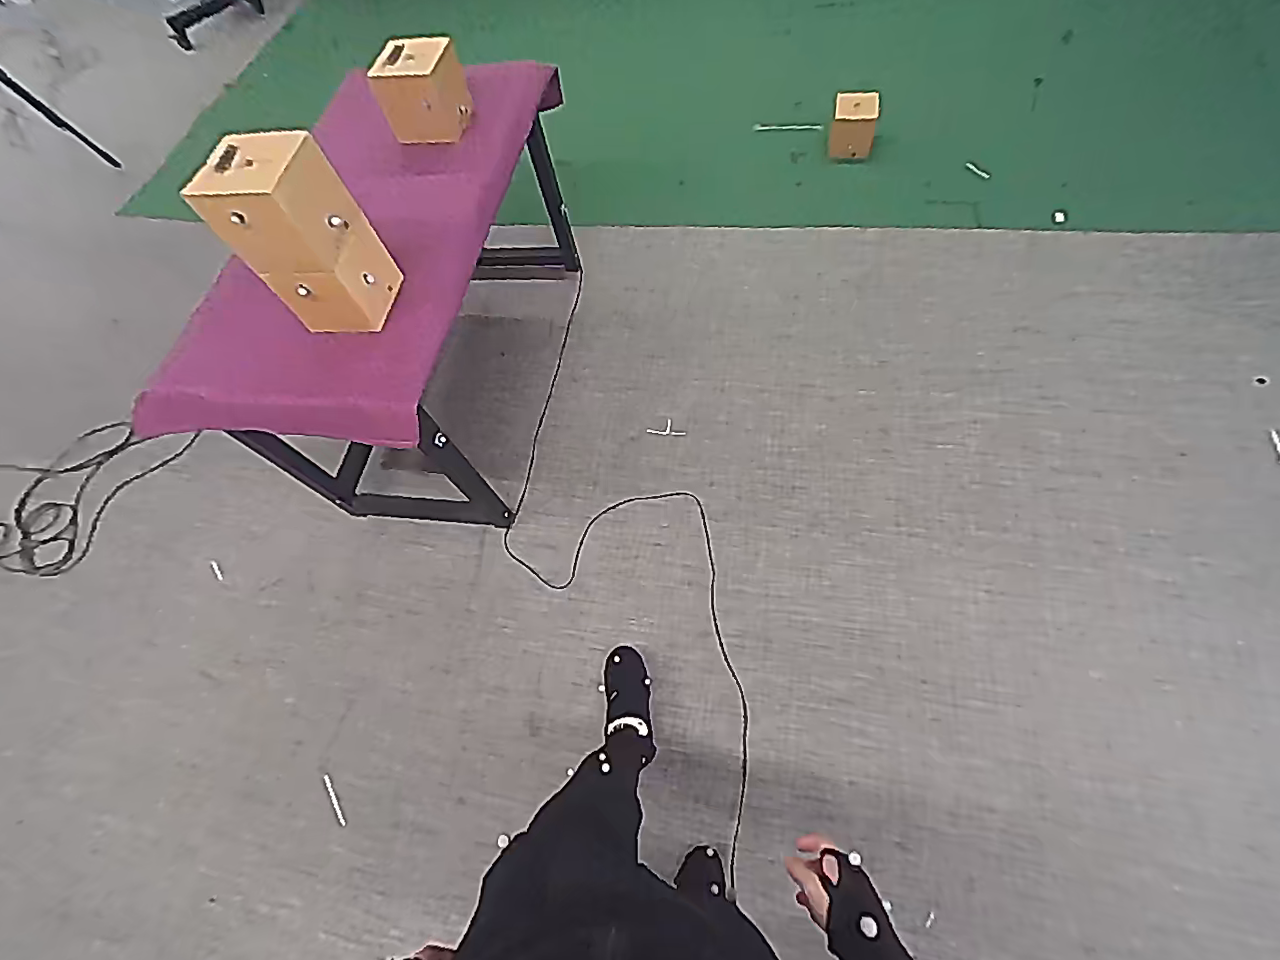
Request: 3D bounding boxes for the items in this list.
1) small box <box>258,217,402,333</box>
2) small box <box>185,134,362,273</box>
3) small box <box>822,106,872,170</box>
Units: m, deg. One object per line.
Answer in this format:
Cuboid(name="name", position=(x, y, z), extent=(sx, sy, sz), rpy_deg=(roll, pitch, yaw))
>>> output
Cuboid(name="small box", position=(-0.638, -0.428, 1.141), extent=(0.179, 0.176, 0.168), rpy_deg=(3, 63, 10))
Cuboid(name="small box", position=(-0.659, -0.503, 0.996), extent=(0.179, 0.176, 0.168), rpy_deg=(4, 64, 9))
Cuboid(name="small box", position=(0.877, -1.455, 2.300), extent=(0.168, 0.176, 0.179), rpy_deg=(8, 64, 11))
